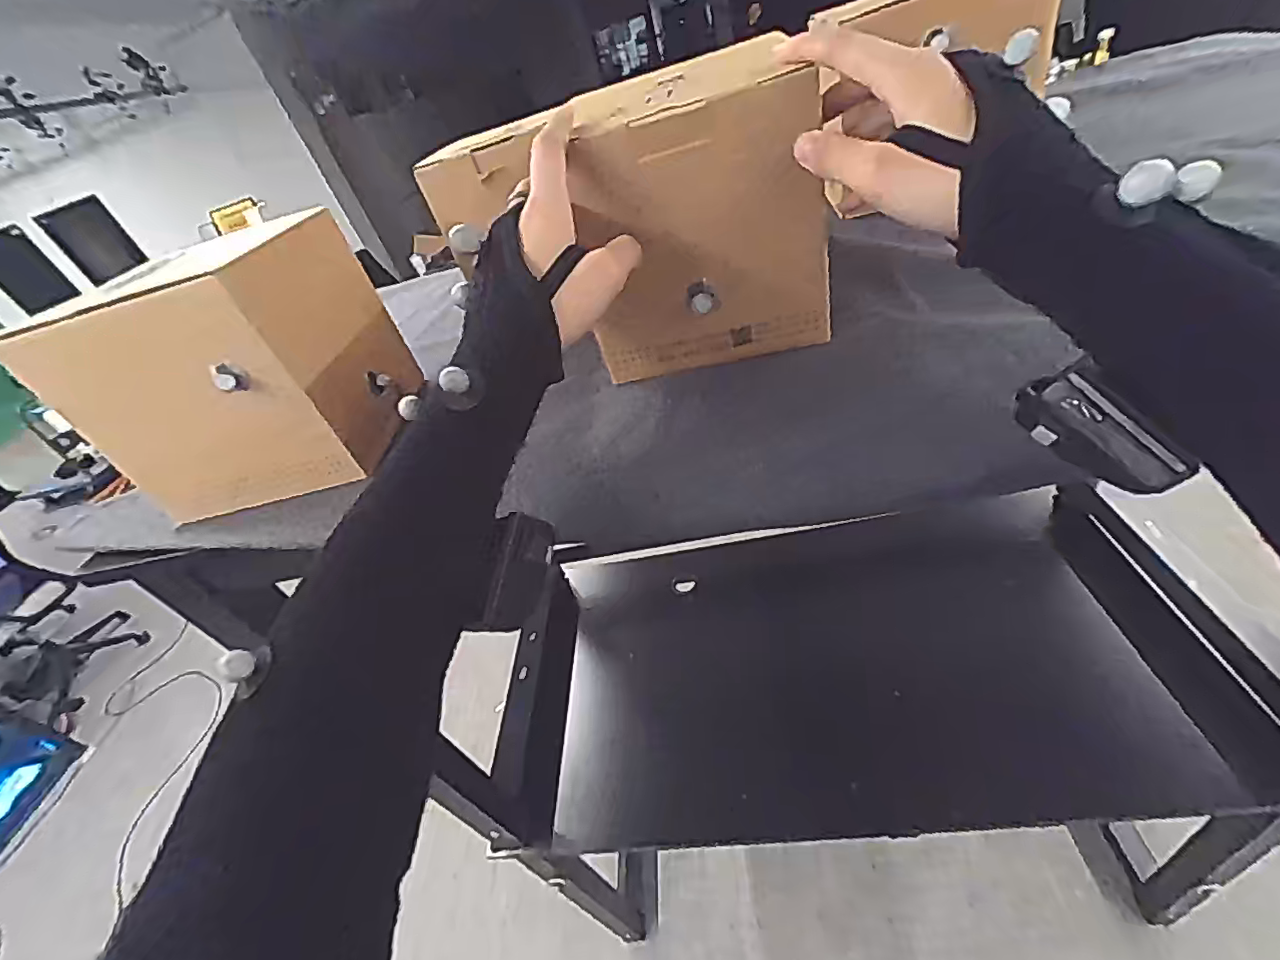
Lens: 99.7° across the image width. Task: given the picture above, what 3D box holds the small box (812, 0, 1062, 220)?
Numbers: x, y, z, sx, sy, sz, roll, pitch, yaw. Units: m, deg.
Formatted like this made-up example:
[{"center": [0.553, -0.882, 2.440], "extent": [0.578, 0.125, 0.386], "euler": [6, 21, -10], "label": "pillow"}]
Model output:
[{"center": [0.281, -0.392, 0.548], "extent": [0.179, 0.176, 0.168], "euler": [-10, 39, 15], "label": "small box"}]

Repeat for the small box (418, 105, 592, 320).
[{"center": [-0.108, -0.297, 0.607], "extent": [0.168, 0.176, 0.179], "euler": [-11, 38, 11], "label": "small box"}]

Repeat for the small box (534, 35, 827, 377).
[{"center": [0.042, -0.203, 0.412], "extent": [0.168, 0.176, 0.179], "euler": [-9, 42, 14], "label": "small box"}]
